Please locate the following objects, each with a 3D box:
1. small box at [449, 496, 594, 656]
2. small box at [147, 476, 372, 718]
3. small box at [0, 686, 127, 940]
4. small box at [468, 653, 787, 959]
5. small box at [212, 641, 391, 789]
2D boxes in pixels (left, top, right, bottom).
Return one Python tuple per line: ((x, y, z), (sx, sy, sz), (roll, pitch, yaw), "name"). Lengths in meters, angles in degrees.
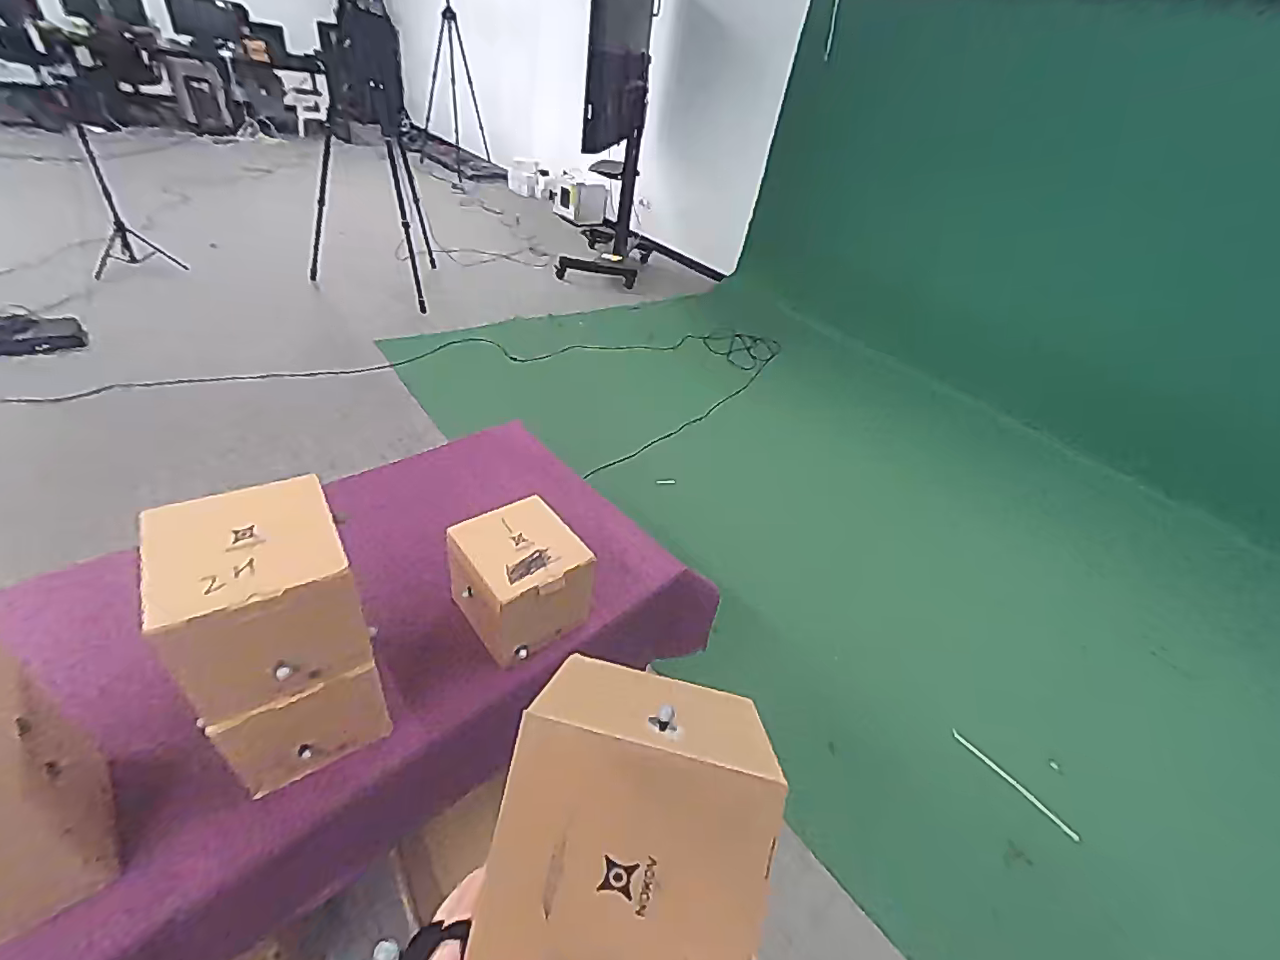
((-0.195, 0.161, 0.888), (0.168, 0.176, 0.179), (-22, 48, -35), "small box")
((-0.421, 0.127, 0.612), (0.168, 0.176, 0.179), (-17, 47, -31), "small box")
((-0.664, 0.352, 0.535), (0.179, 0.176, 0.168), (-23, 50, -35), "small box")
((-0.004, 0.251, 0.426), (0.179, 0.168, 0.176), (14, -4, 5), "small box")
((-0.443, 0.258, 0.710), (0.168, 0.176, 0.179), (-18, 48, -32), "small box")
